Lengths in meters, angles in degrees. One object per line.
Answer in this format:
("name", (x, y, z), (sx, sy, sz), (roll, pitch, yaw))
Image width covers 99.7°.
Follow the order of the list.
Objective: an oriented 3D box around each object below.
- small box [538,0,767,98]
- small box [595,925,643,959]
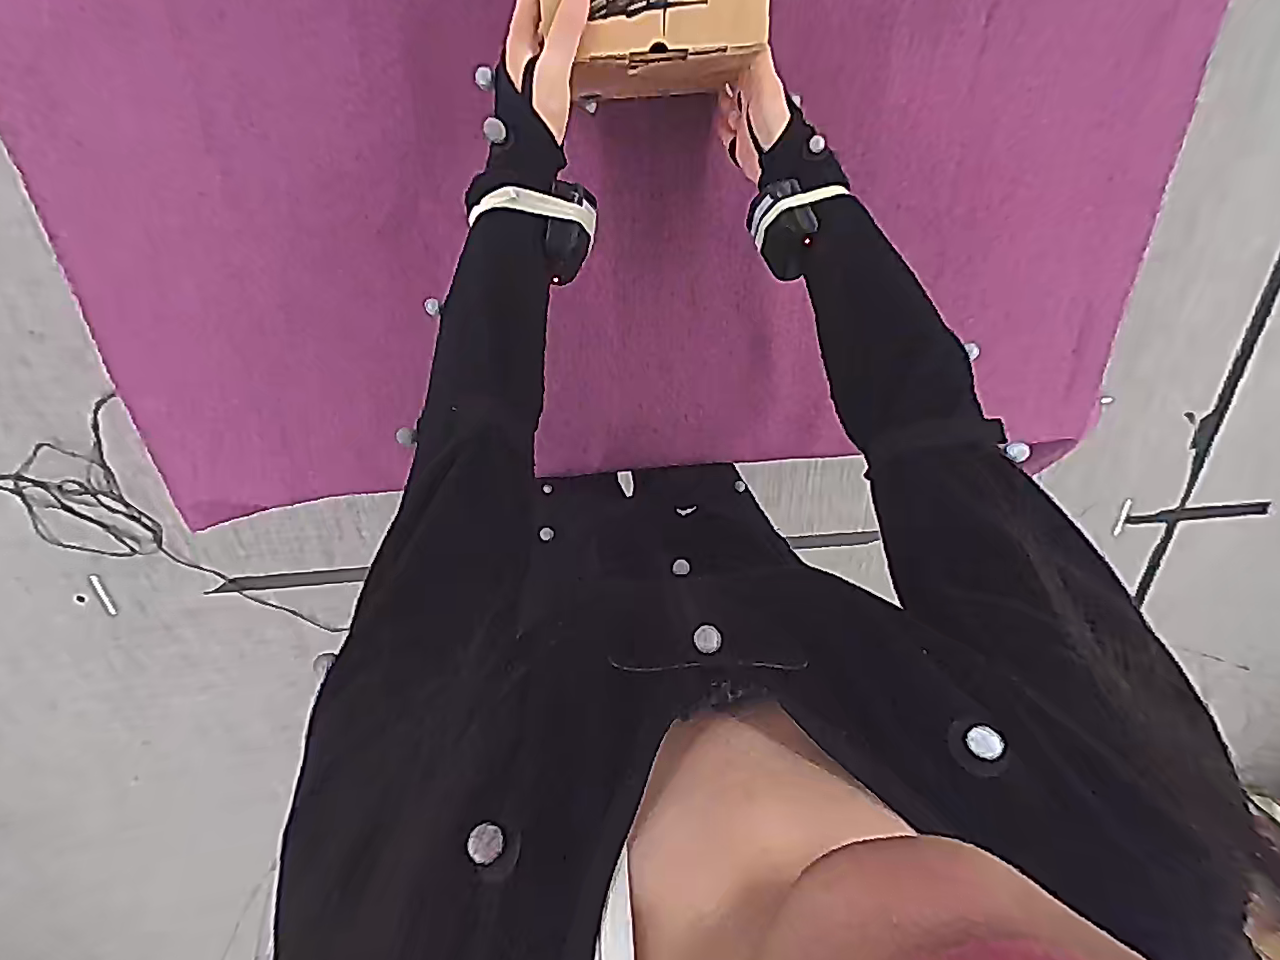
("small box", (0.001, -0.421, 0.429), (0.168, 0.176, 0.179), (-6, 117, -3))
("small box", (-0.074, 1.794, 2.007), (0.179, 0.176, 0.168), (-5, 116, -3))
